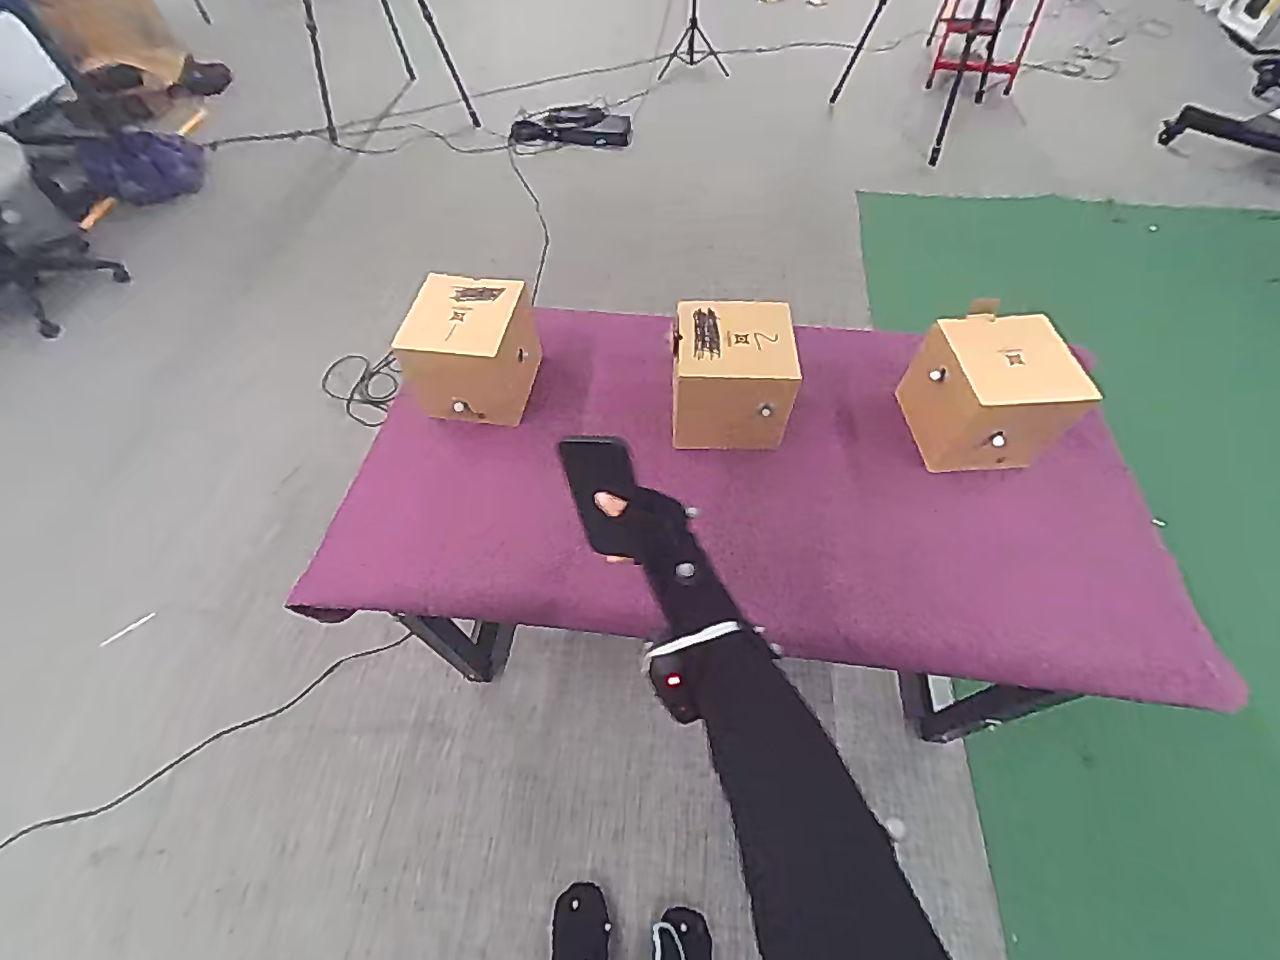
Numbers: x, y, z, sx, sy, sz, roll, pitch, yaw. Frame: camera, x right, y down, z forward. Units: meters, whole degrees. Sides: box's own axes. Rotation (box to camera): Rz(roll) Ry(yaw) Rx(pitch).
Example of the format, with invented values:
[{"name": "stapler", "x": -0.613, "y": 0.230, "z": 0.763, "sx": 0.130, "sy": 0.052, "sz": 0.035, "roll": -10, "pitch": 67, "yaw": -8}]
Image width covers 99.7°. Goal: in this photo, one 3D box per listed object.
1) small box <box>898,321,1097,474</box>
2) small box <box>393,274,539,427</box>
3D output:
[{"name": "small box", "x": 0.531, "y": -0.120, "z": 0.835, "sx": 0.168, "sy": 0.176, "sz": 0.179, "roll": -3, "pitch": 56, "yaw": 0}, {"name": "small box", "x": -0.275, "y": -0.214, "z": 0.905, "sx": 0.168, "sy": 0.176, "sz": 0.179, "roll": 7, "pitch": 58, "yaw": 5}]
